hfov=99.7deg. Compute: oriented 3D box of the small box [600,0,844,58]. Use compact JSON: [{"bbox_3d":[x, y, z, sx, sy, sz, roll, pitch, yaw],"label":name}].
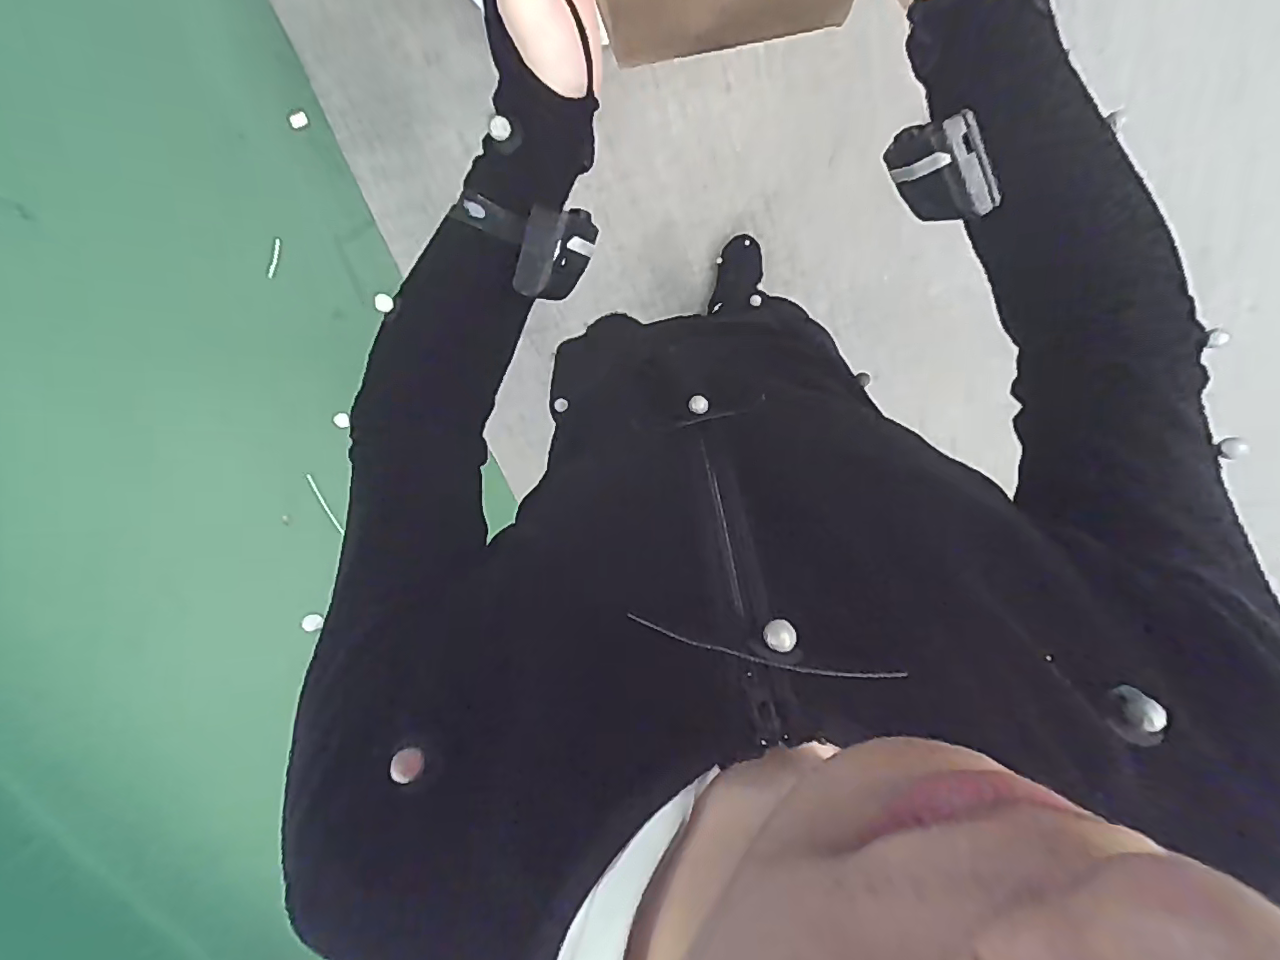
[{"bbox_3d":[0.048,-0.394,0.322,0.179,0.176,0.168,-4,102,10],"label":"small box"}]
